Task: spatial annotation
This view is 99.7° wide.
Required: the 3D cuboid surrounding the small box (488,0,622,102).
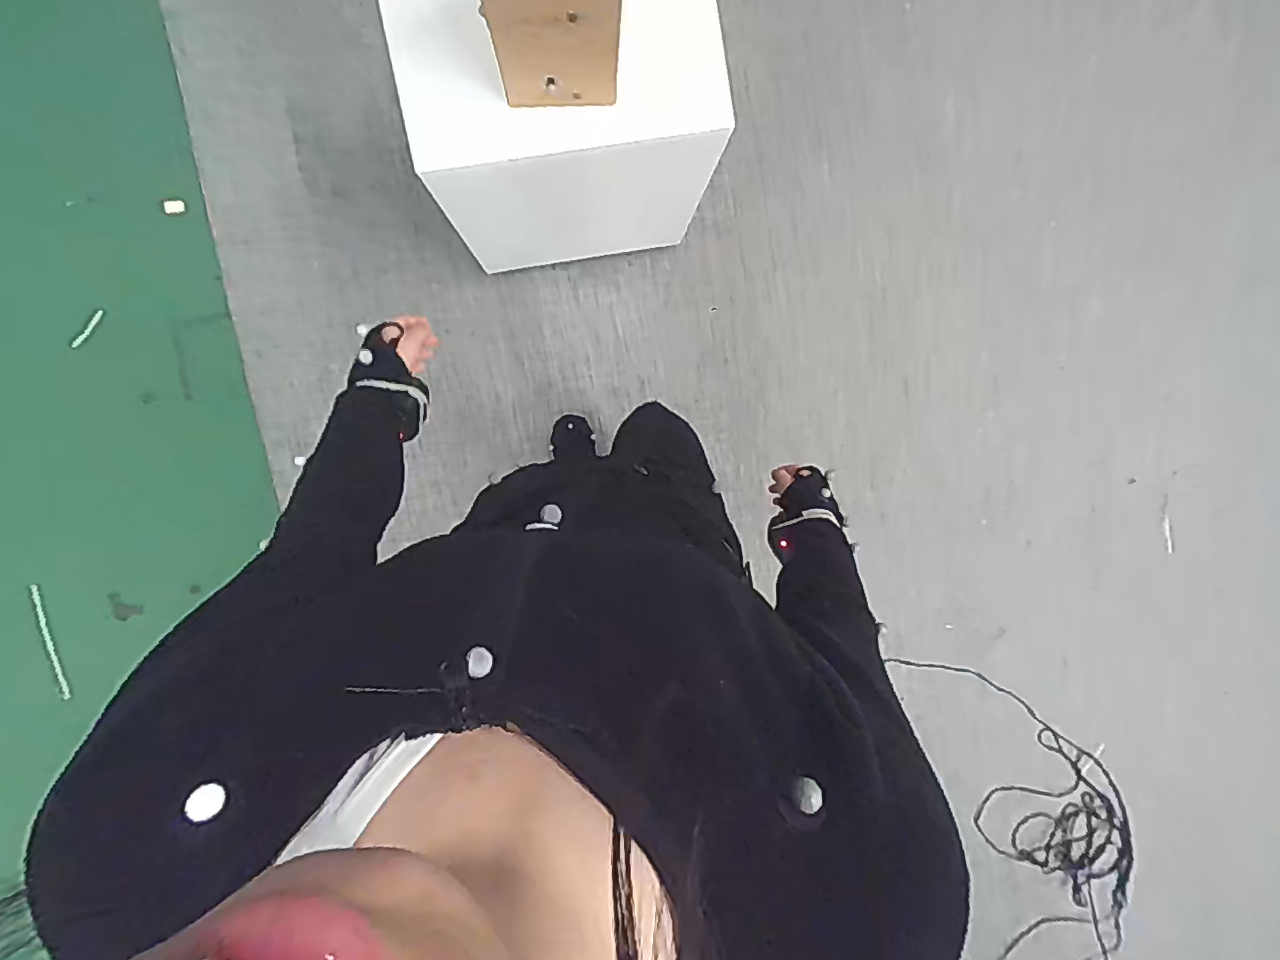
[{"bbox_3d":[-0.116,-0.658,0.737,0.168,0.176,0.179,-5,96,-5],"label":"small box"}]
